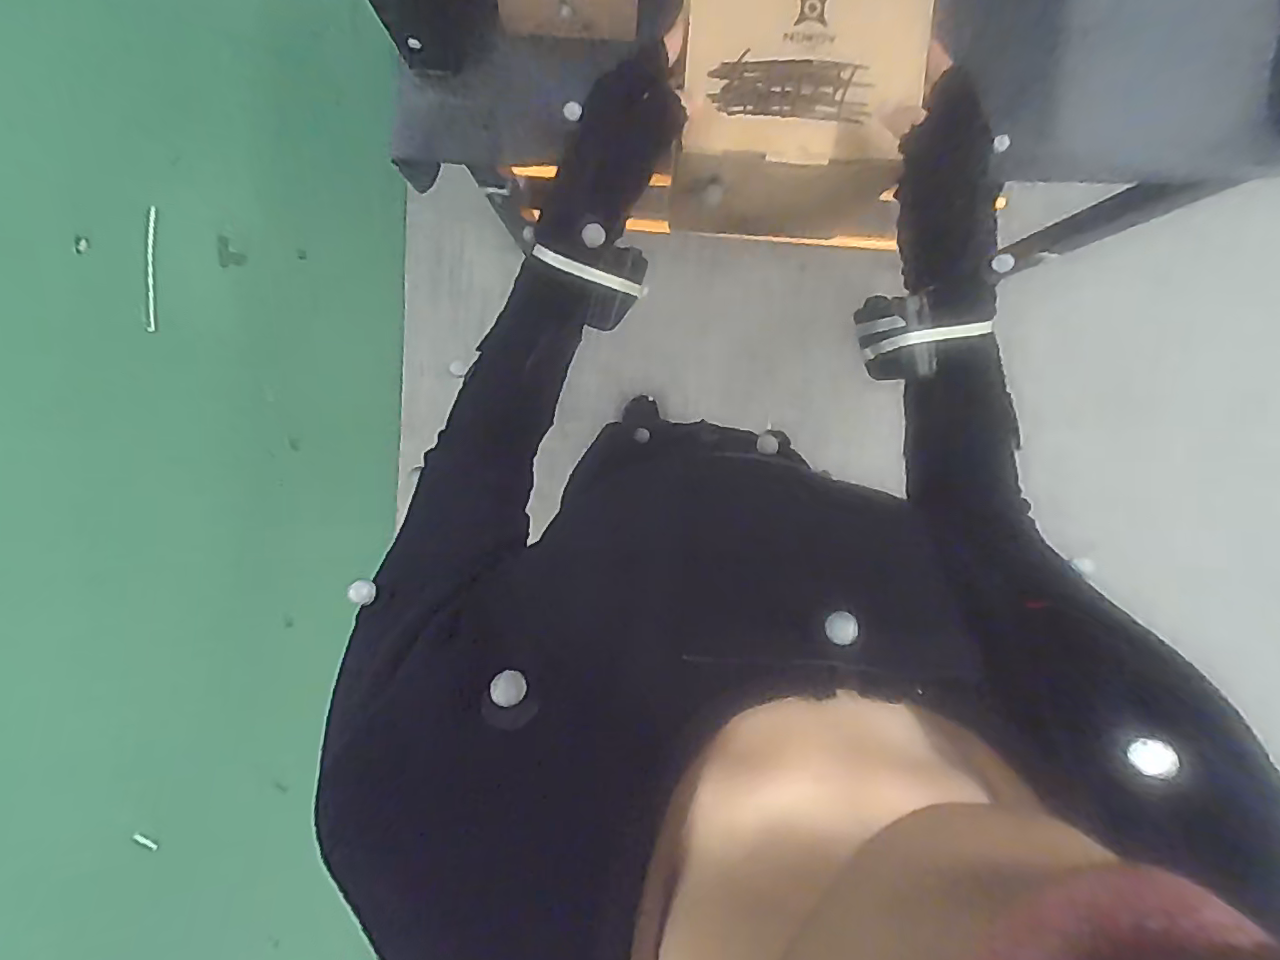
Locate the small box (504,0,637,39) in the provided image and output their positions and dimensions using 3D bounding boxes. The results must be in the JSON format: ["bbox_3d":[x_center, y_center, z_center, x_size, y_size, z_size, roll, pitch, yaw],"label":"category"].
[{"bbox_3d":[-0.081,-0.640,0.591,0.168,0.176,0.179,2,95,-1],"label":"small box"}]
